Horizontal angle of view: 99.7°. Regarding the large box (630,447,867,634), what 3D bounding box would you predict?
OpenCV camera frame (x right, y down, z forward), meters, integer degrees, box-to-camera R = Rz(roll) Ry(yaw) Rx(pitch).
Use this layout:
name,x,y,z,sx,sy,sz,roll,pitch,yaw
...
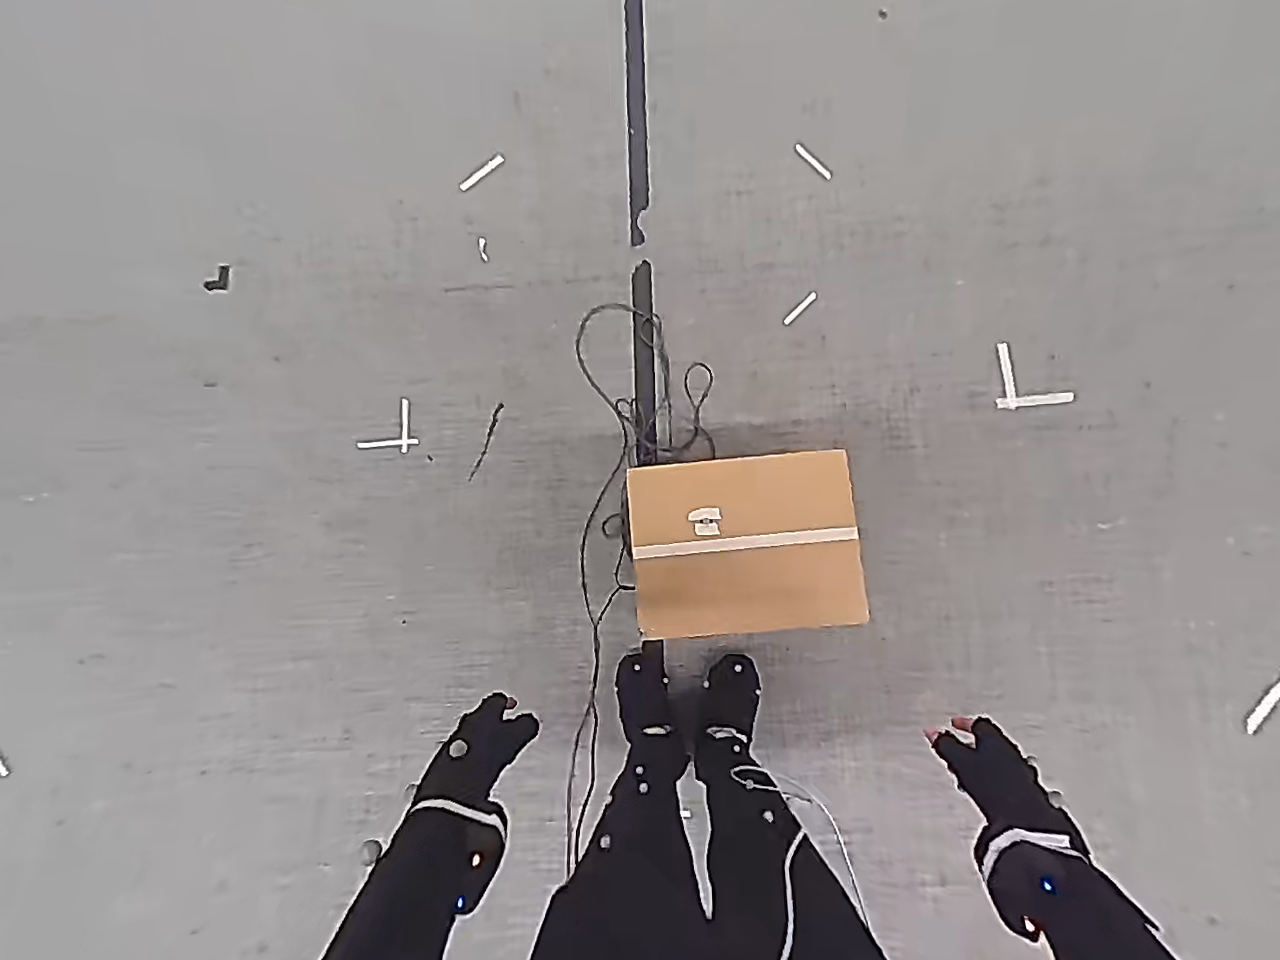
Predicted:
name,x,y,z,sx,sy,sz,roll,pitch,yaw
large box,0.203,0.128,1.128,0.408,0.320,0.320,-5,81,4
